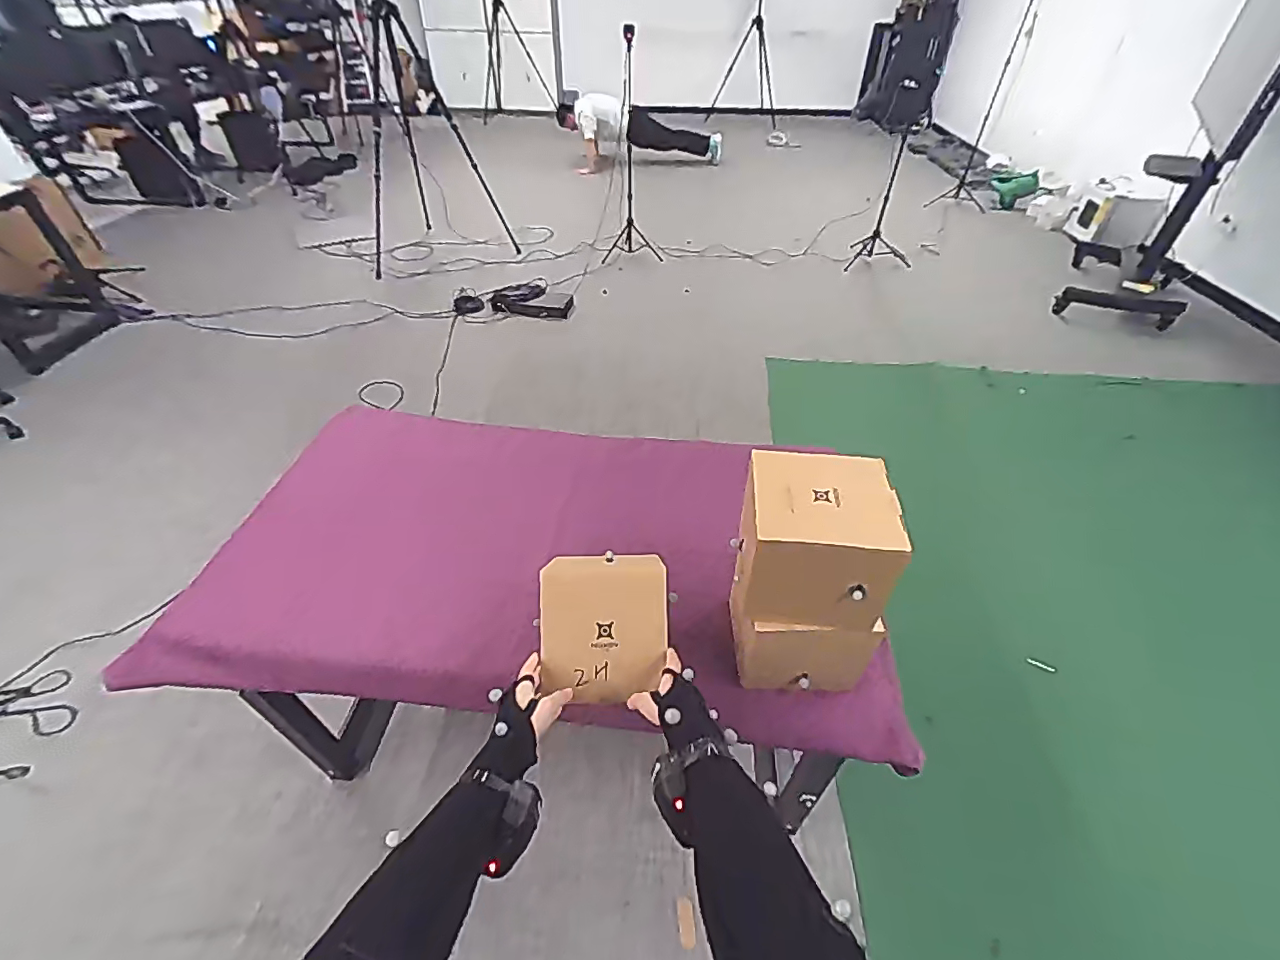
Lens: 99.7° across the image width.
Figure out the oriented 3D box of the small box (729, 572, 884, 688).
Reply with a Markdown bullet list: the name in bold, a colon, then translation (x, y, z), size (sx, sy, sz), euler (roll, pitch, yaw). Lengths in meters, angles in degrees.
- **small box**: translation (0.240, 0.203, 0.828), size (0.179, 0.176, 0.168), euler (1, 43, 1)

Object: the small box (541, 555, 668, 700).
- **small box**: translation (-0.049, 0.199, 0.778), size (0.168, 0.176, 0.179), euler (-1, 88, -1)

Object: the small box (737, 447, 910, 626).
- **small box**: translation (0.228, 0.077, 0.724), size (0.179, 0.176, 0.168), euler (4, 43, 6)
